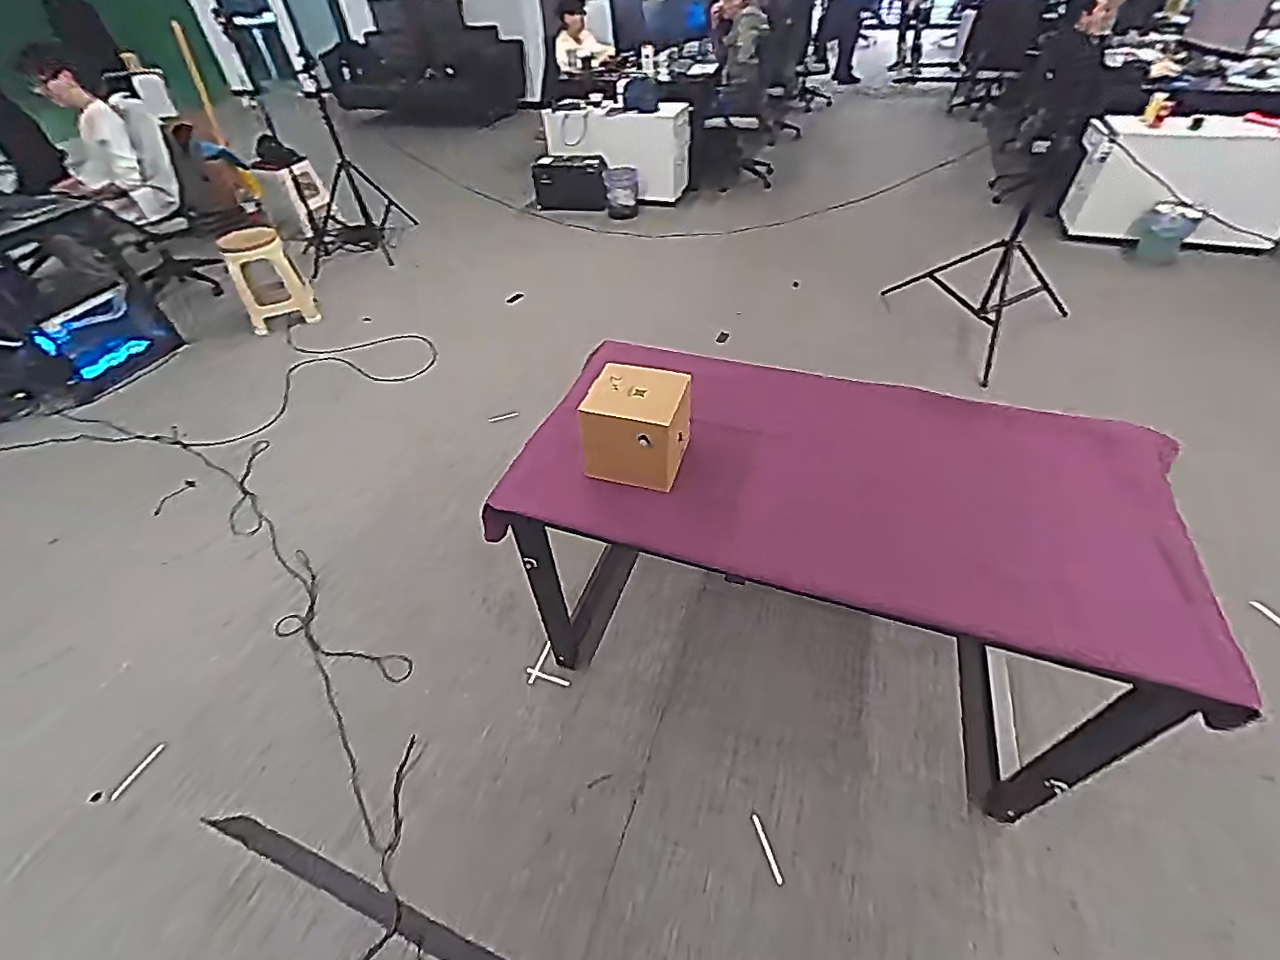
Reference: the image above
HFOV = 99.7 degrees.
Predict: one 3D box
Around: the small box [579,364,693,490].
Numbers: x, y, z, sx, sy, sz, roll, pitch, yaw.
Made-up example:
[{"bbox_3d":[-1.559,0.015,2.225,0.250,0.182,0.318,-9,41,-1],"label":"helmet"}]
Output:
[{"bbox_3d":[-0.001,-0.102,1.062,0.179,0.176,0.168,11,45,14],"label":"small box"}]
